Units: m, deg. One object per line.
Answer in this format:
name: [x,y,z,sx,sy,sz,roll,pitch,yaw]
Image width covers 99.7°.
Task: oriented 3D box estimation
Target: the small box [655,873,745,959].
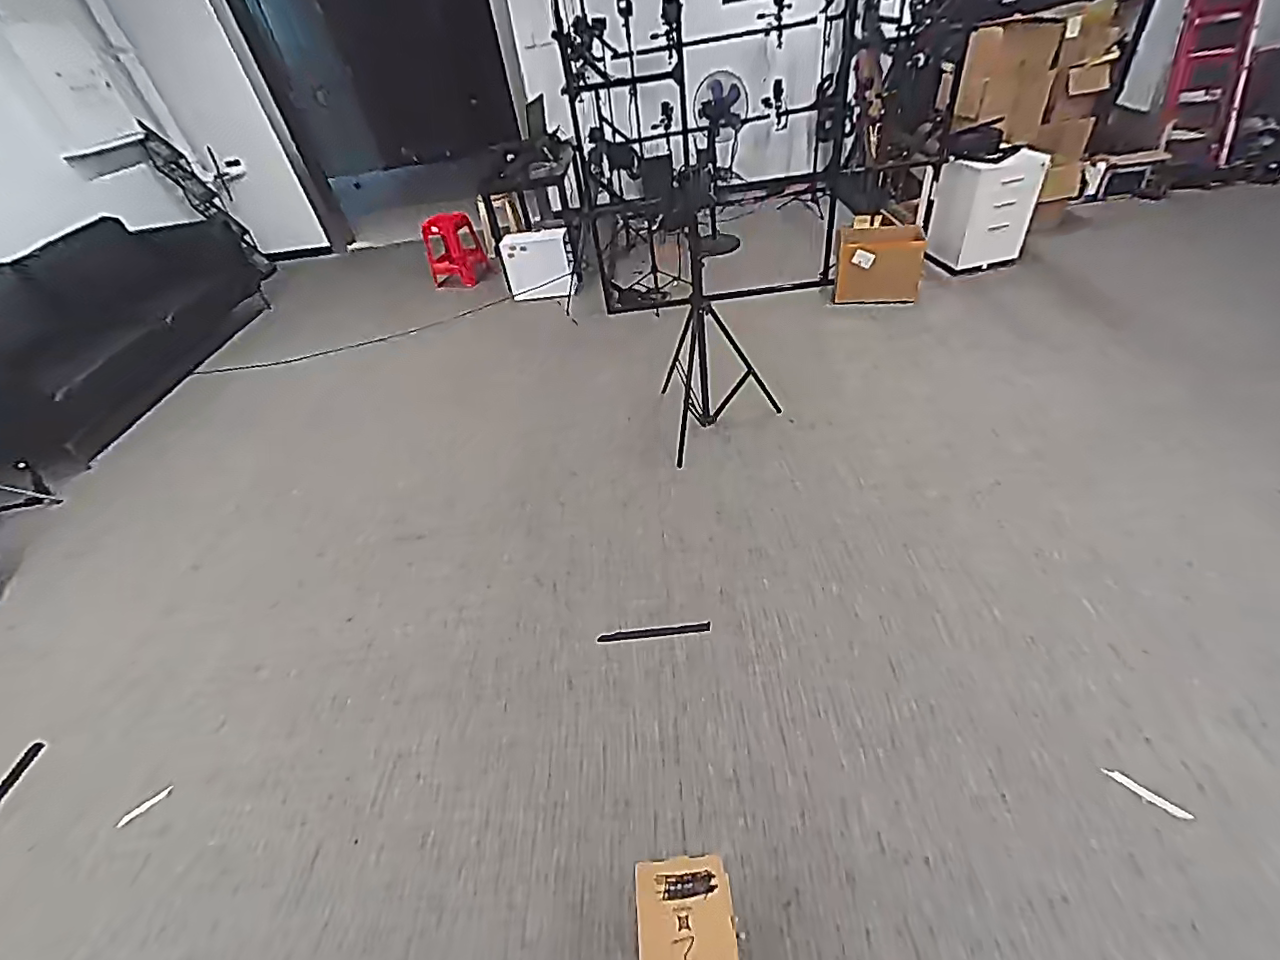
small box: [0.123,0.934,1.103,0.168,0.176,0.179,-7,41,2]
